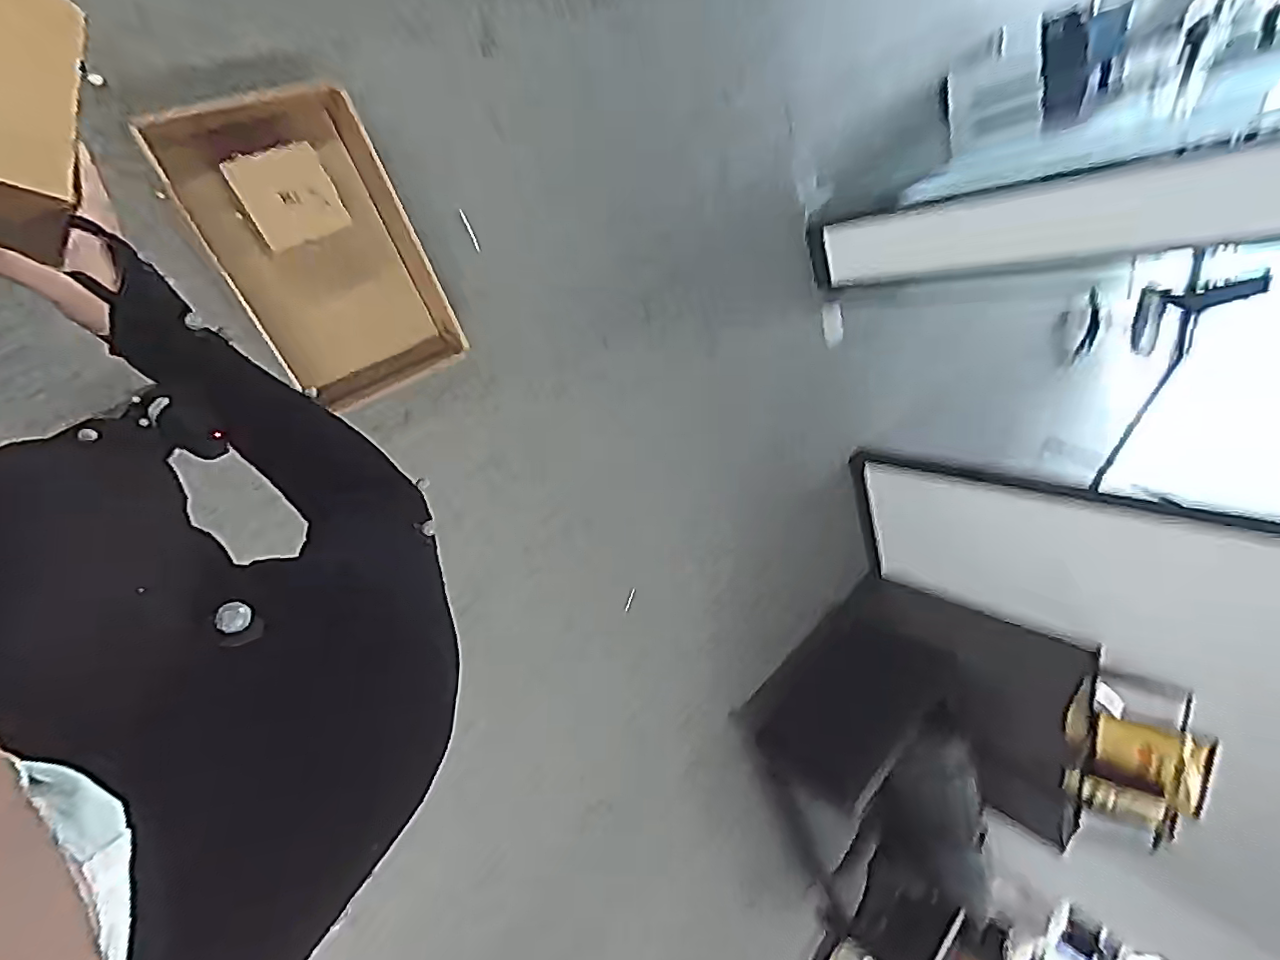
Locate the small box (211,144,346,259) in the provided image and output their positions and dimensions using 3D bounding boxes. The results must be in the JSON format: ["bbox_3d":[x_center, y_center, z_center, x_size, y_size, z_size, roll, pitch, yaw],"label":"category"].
[{"bbox_3d":[-0.768,-0.586,1.153,0.179,0.176,0.168,-36,122,-26],"label":"small box"}]

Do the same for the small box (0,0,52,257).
[{"bbox_3d":[-0.580,-0.302,0.419,0.168,0.176,0.179,1,83,-48],"label":"small box"}]
